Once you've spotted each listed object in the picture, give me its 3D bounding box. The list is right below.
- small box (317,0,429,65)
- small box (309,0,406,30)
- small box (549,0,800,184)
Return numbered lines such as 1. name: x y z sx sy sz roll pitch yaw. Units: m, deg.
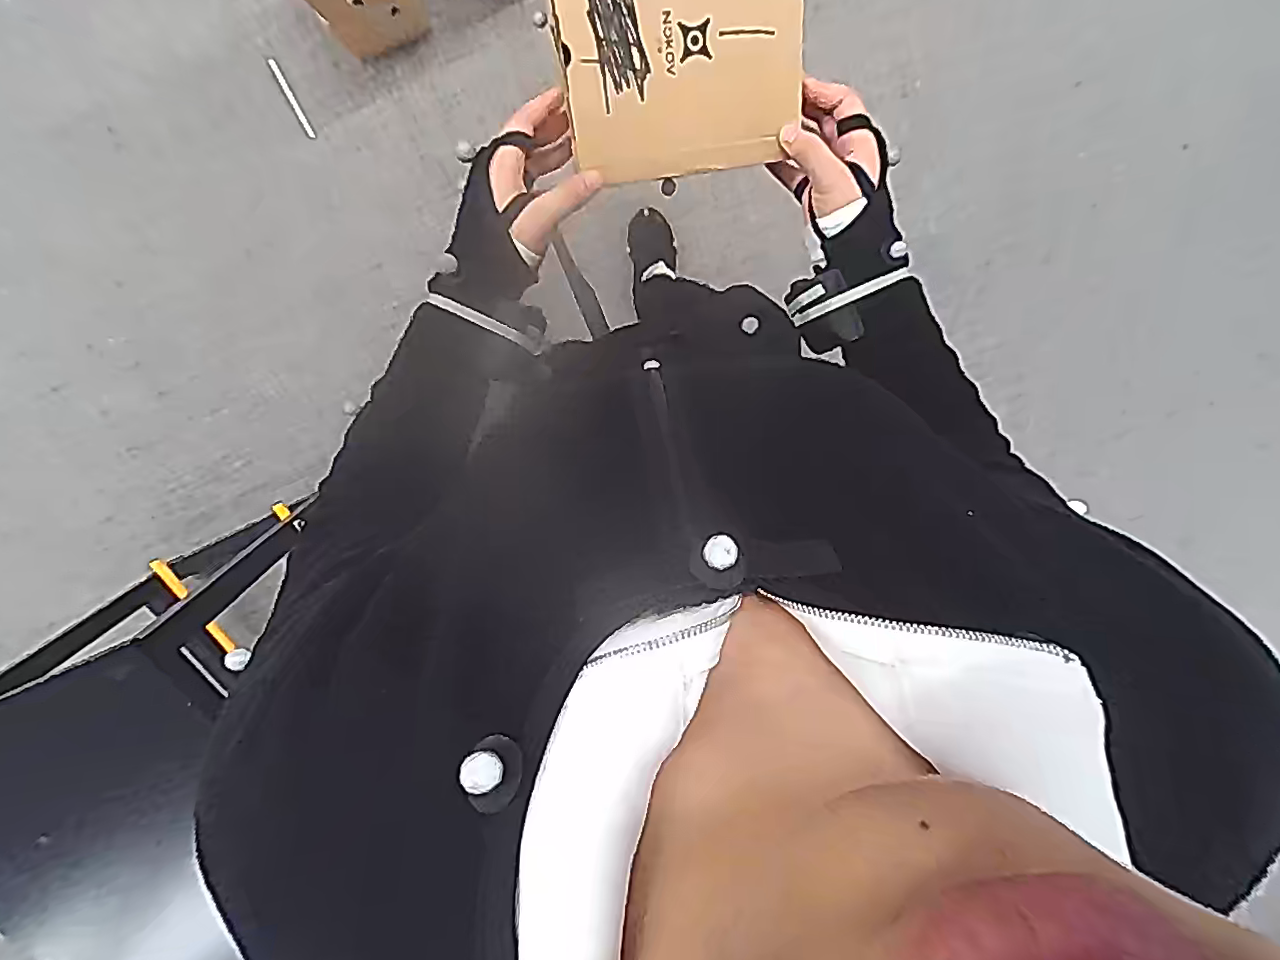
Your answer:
1. small box: -0.533 -0.953 1.046 0.179 0.176 0.168 -22 110 3
2. small box: -0.514 -0.904 0.892 0.168 0.176 0.179 -23 112 5
3. small box: 0.020 -0.353 0.452 0.179 0.176 0.168 -11 119 -3
